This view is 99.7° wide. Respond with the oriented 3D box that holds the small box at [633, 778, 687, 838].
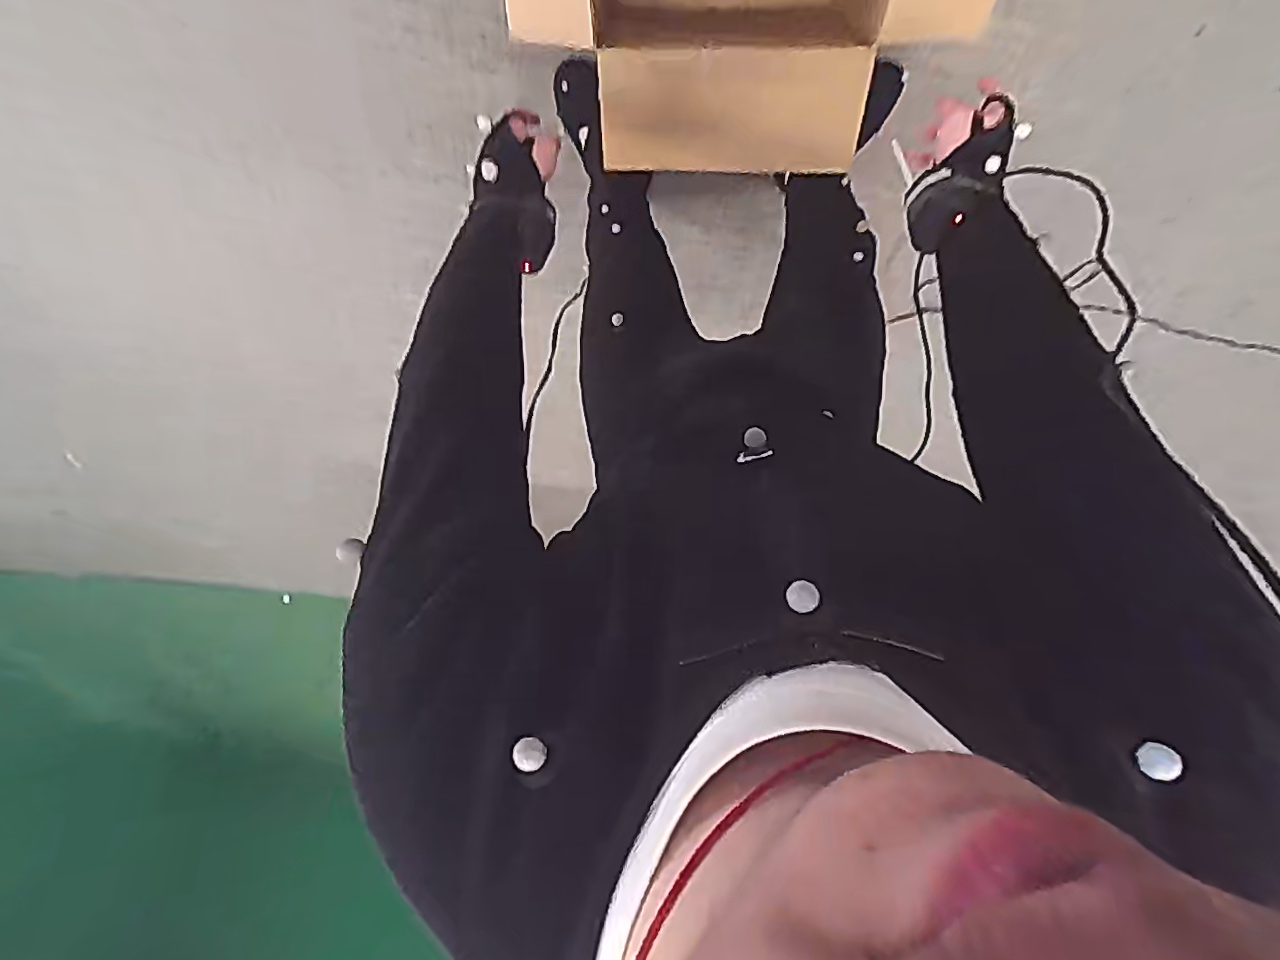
[{"bbox_3d":[0.078,1.266,2.089,0.179,0.176,0.168,9,139,-7],"label":"small box"}]
